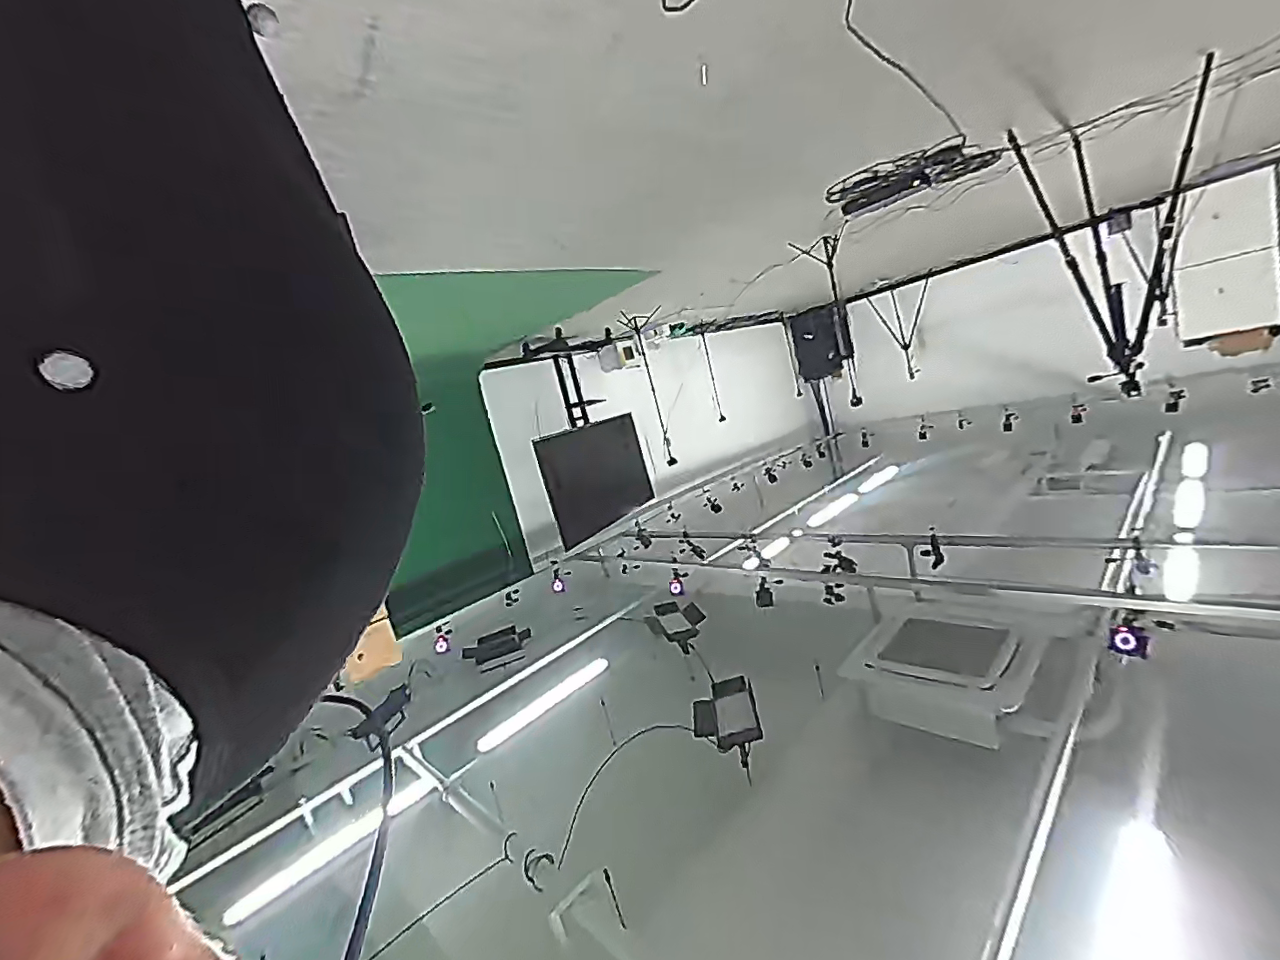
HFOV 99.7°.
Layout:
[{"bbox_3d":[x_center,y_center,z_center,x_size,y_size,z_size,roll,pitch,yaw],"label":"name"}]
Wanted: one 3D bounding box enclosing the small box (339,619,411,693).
[{"bbox_3d":[-0.926,0.604,1.883,0.168,0.176,0.179,-21,-169,-36],"label":"small box"}]
